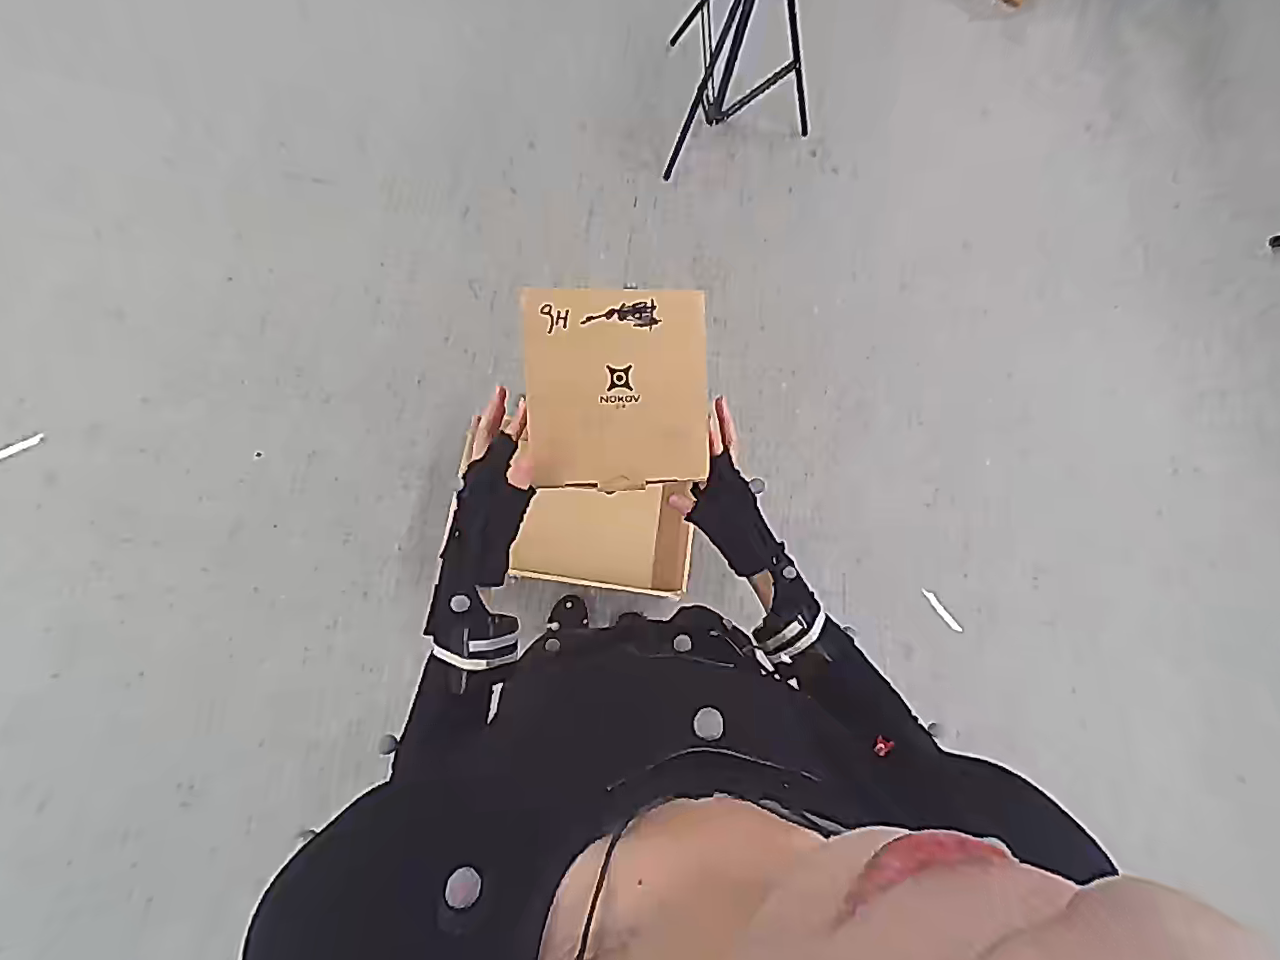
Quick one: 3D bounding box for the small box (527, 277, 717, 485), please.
[{"bbox_3d":[-0.026,-0.092,0.546,0.168,0.176,0.179,-2,95,-11],"label":"small box"}]
